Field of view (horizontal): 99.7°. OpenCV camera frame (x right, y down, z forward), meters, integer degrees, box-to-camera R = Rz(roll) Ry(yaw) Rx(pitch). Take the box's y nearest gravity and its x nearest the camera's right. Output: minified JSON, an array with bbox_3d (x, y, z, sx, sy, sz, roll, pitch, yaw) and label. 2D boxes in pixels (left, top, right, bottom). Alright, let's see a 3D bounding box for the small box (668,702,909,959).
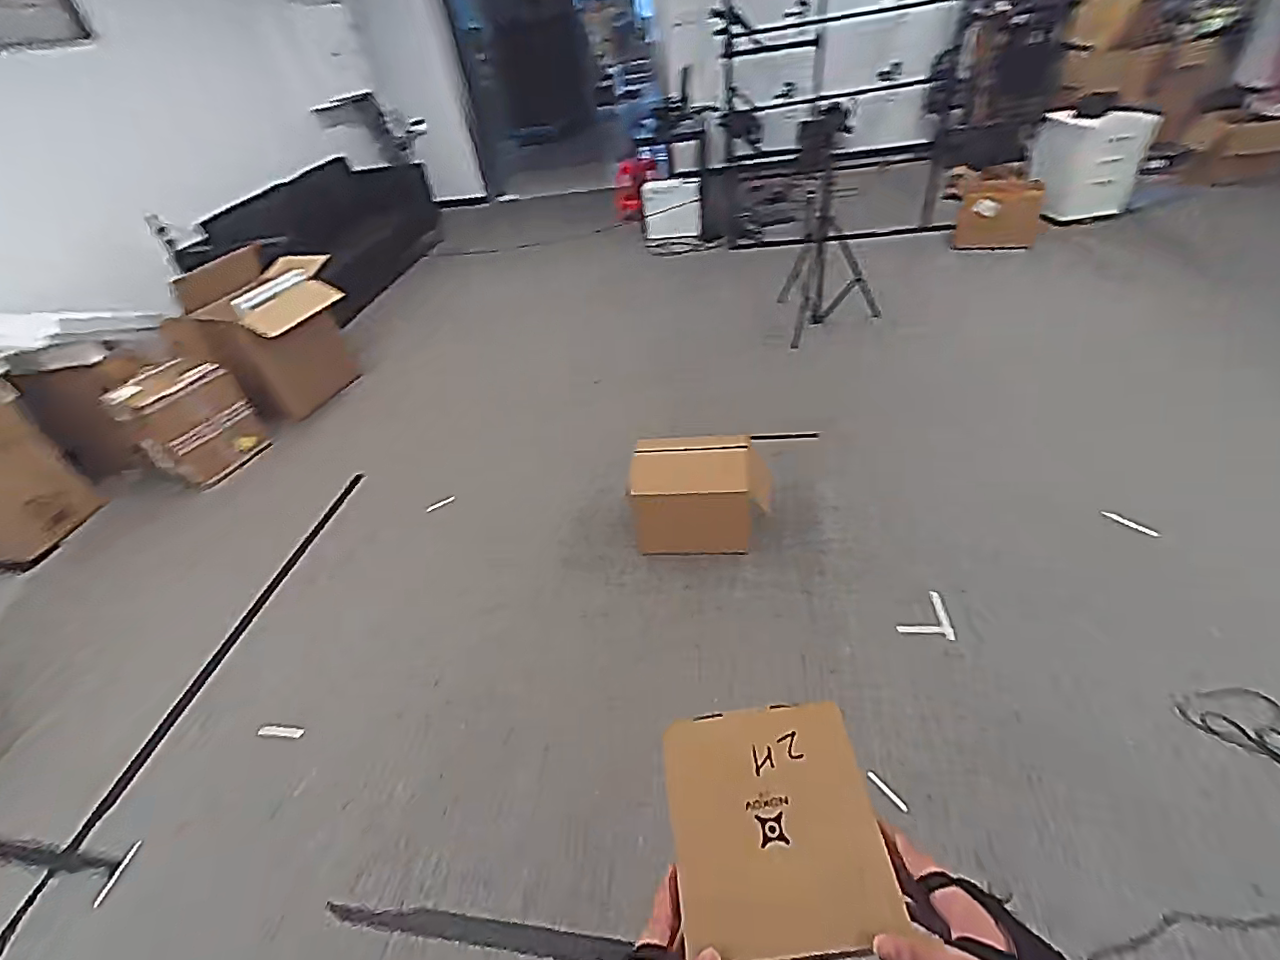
[{"bbox_3d":[0.121,0.334,0.506,0.168,0.176,0.179,-7,45,2],"label":"small box"}]
